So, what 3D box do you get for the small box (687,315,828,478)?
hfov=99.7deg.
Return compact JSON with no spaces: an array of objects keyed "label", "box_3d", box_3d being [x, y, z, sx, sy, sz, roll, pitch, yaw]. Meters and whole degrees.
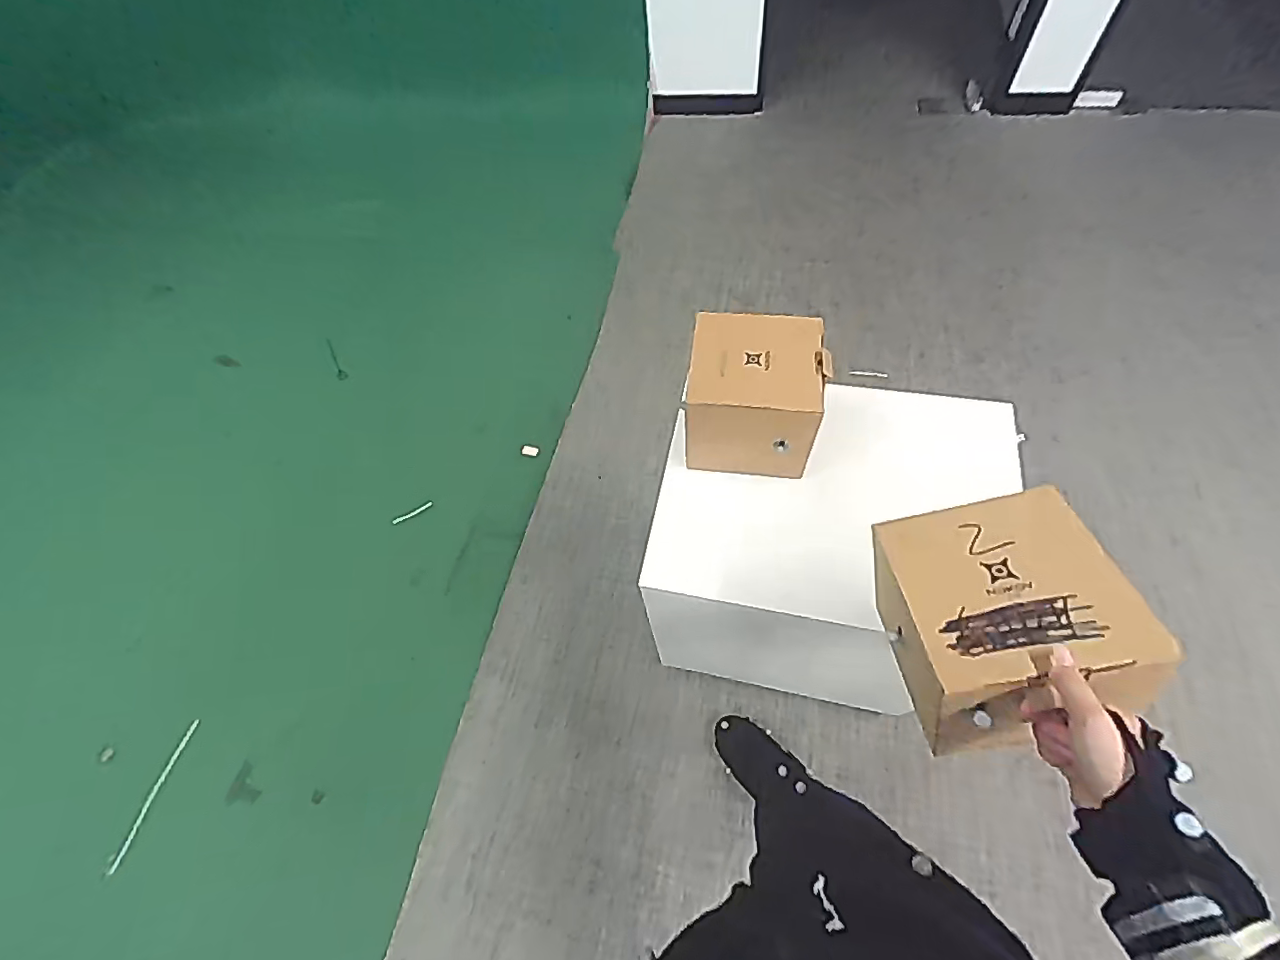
[{"label":"small box","box_3d":[0.163,-0.115,0.782,0.179,0.176,0.168,5,60,9]}]
